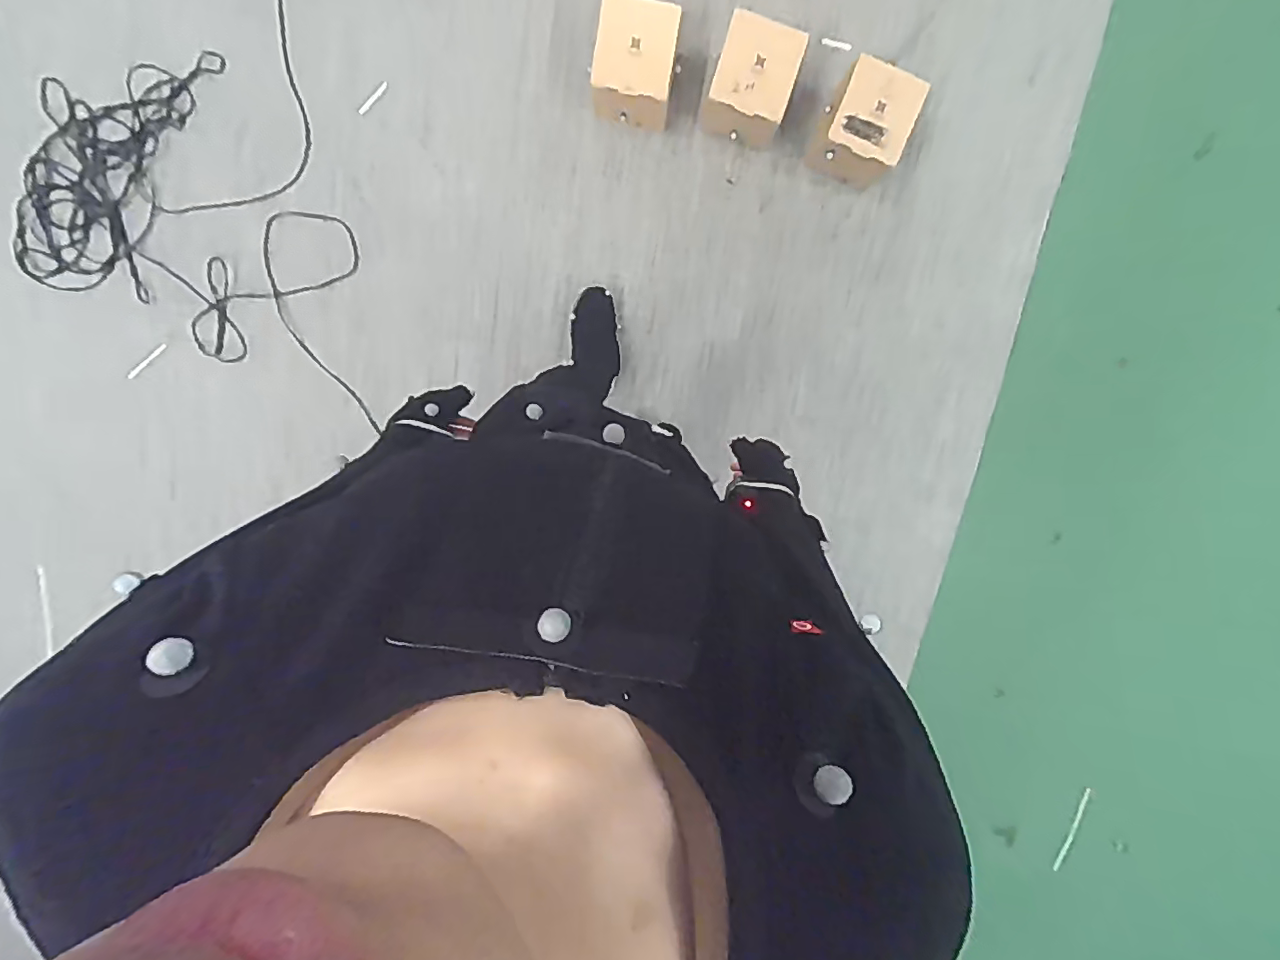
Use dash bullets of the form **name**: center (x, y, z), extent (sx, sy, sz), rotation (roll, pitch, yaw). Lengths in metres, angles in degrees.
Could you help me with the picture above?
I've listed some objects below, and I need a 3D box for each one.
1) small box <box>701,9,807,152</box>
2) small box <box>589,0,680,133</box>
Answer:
- **small box**: center (0.241, -0.872, 1.200), extent (0.168, 0.176, 0.179), rotation (18, 102, -3)
- **small box**: center (-0.013, -0.907, 1.192), extent (0.168, 0.176, 0.179), rotation (10, 103, -2)
